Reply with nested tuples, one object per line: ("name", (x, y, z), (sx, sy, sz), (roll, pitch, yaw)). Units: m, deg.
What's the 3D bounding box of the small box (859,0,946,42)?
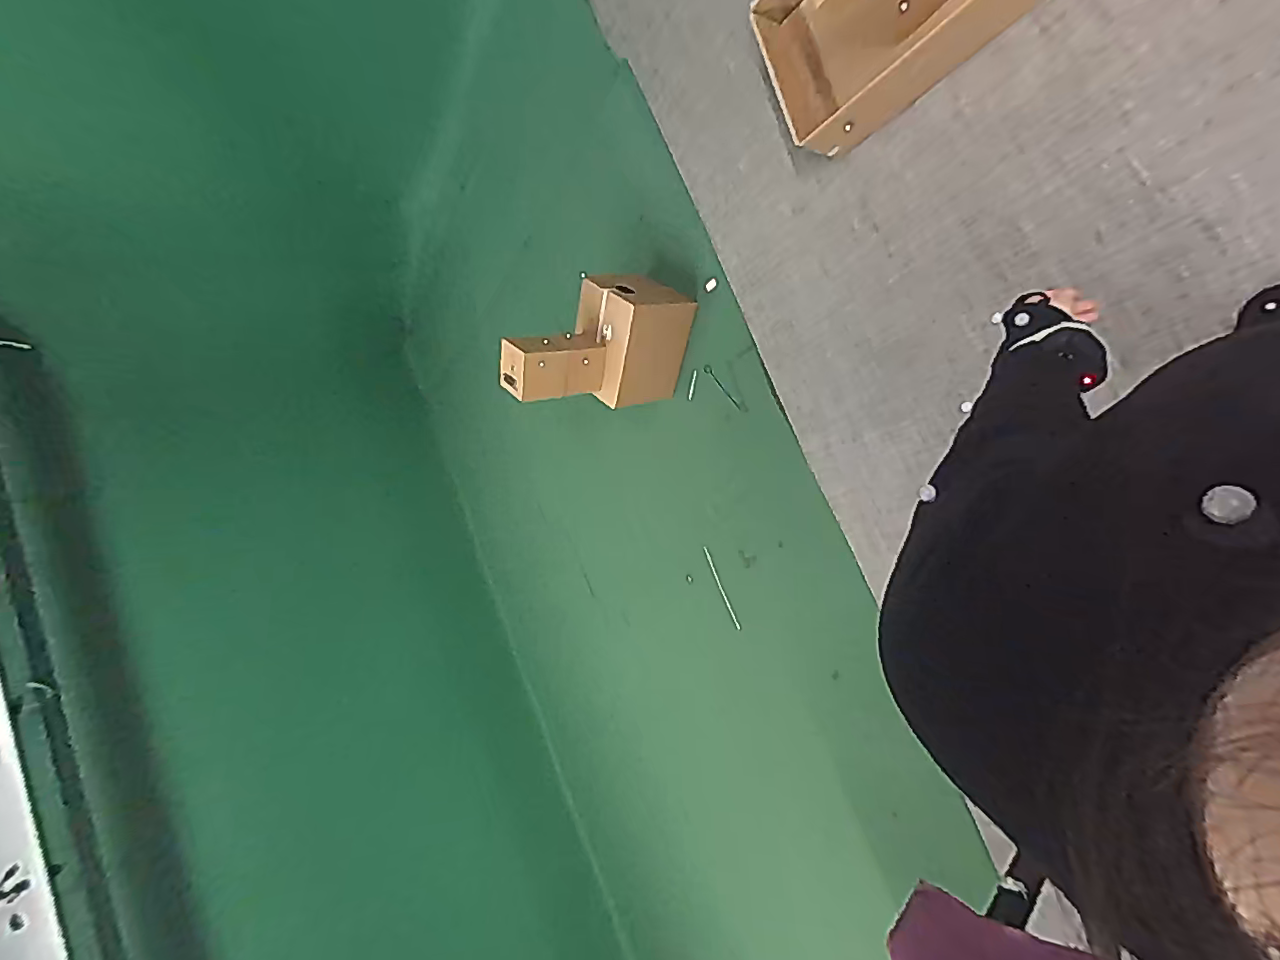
("small box", (0.568, -1.103, 1.168), (0.179, 0.176, 0.168), (-21, 88, 52))
